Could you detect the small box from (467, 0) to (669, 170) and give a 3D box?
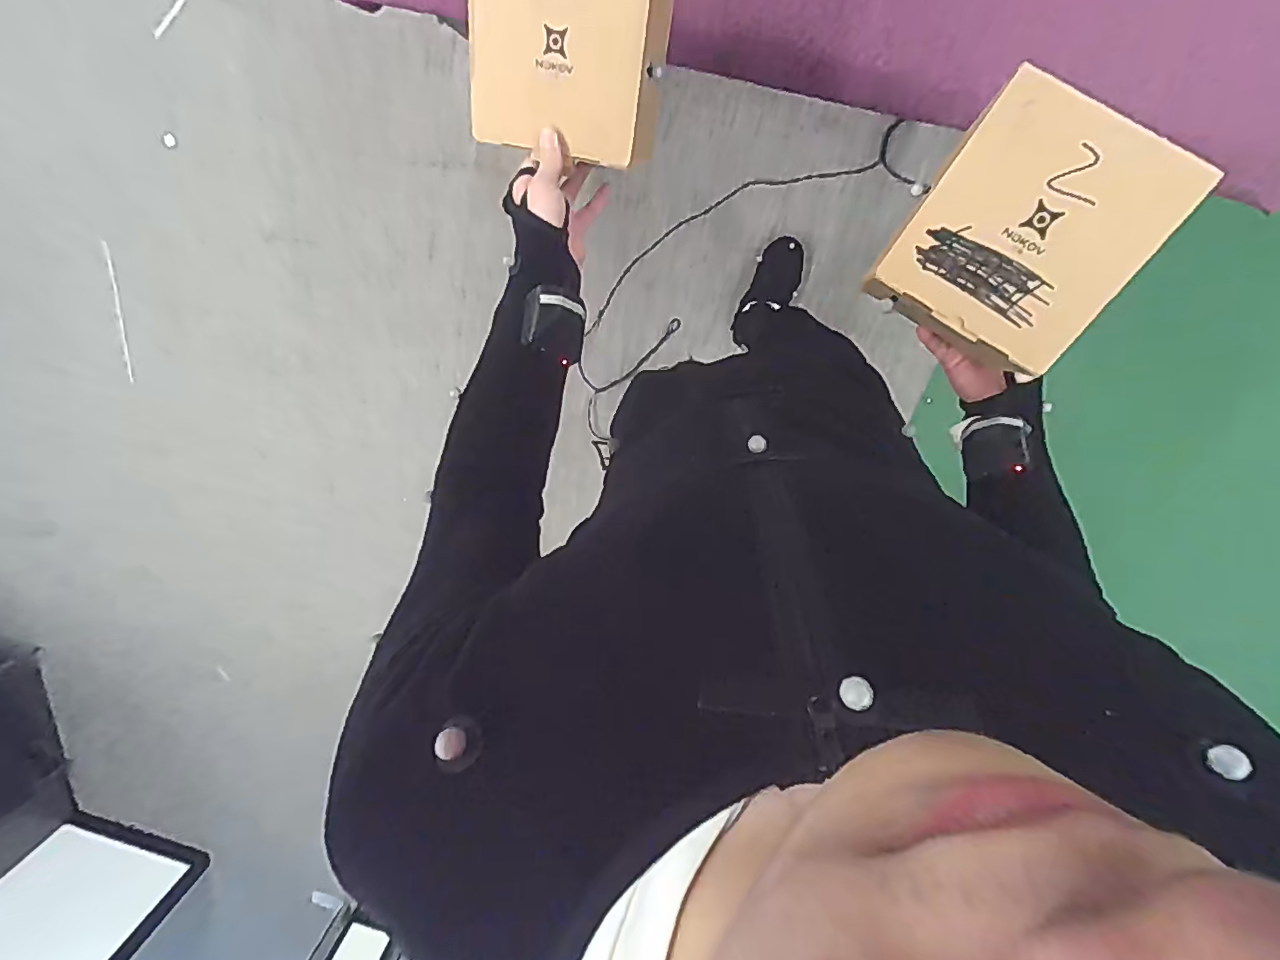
[{"bbox_3d":[-0.068,-0.444,0.564,0.168,0.176,0.179,12,125,2],"label":"small box"}]
